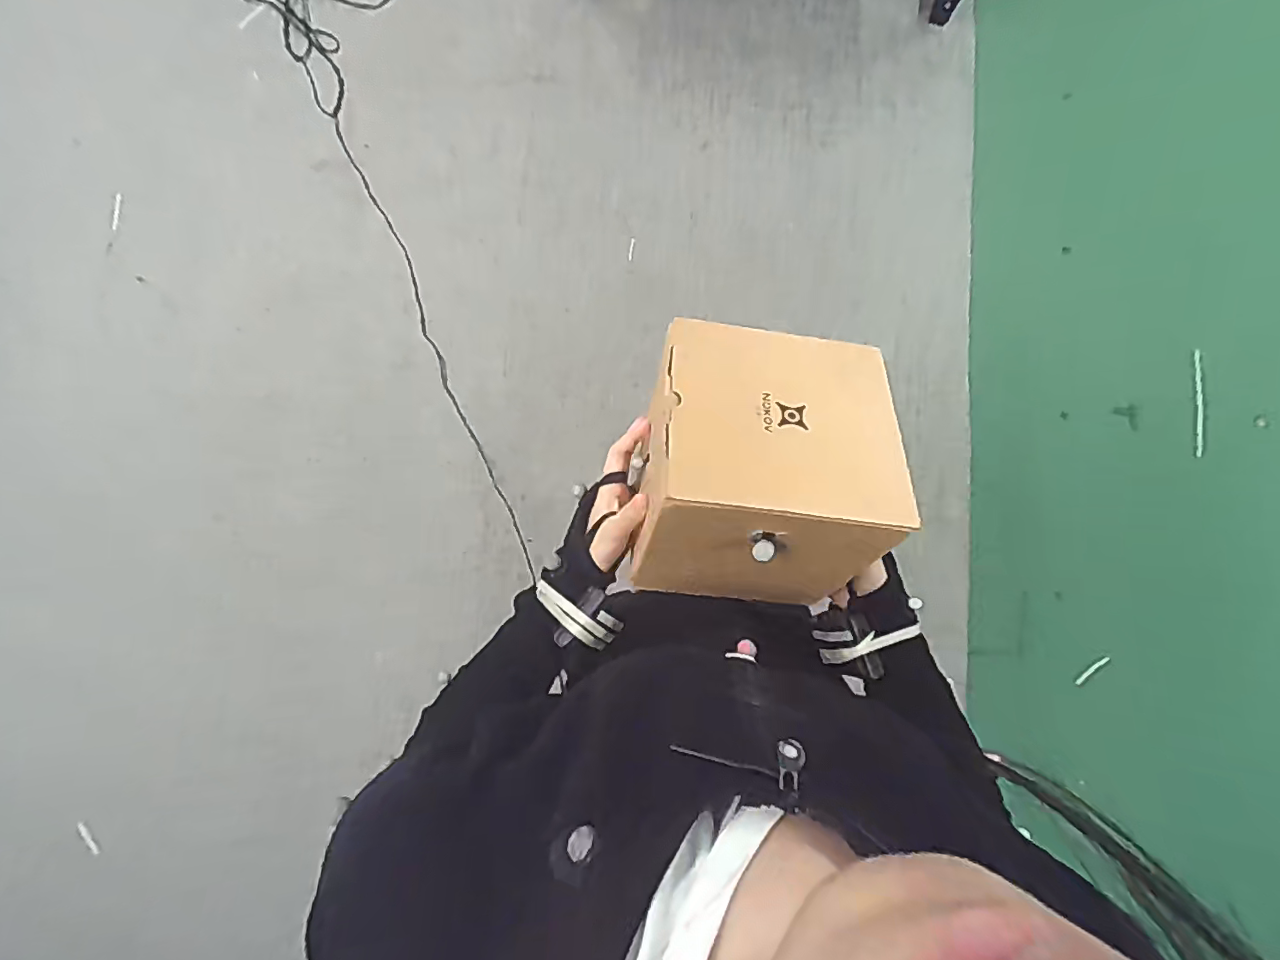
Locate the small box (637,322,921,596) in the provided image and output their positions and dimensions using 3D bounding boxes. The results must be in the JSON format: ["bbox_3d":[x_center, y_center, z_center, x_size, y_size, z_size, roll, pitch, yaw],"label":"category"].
[{"bbox_3d":[0.099,-0.006,0.466,0.179,0.176,0.168,6,60,-6],"label":"small box"}]
